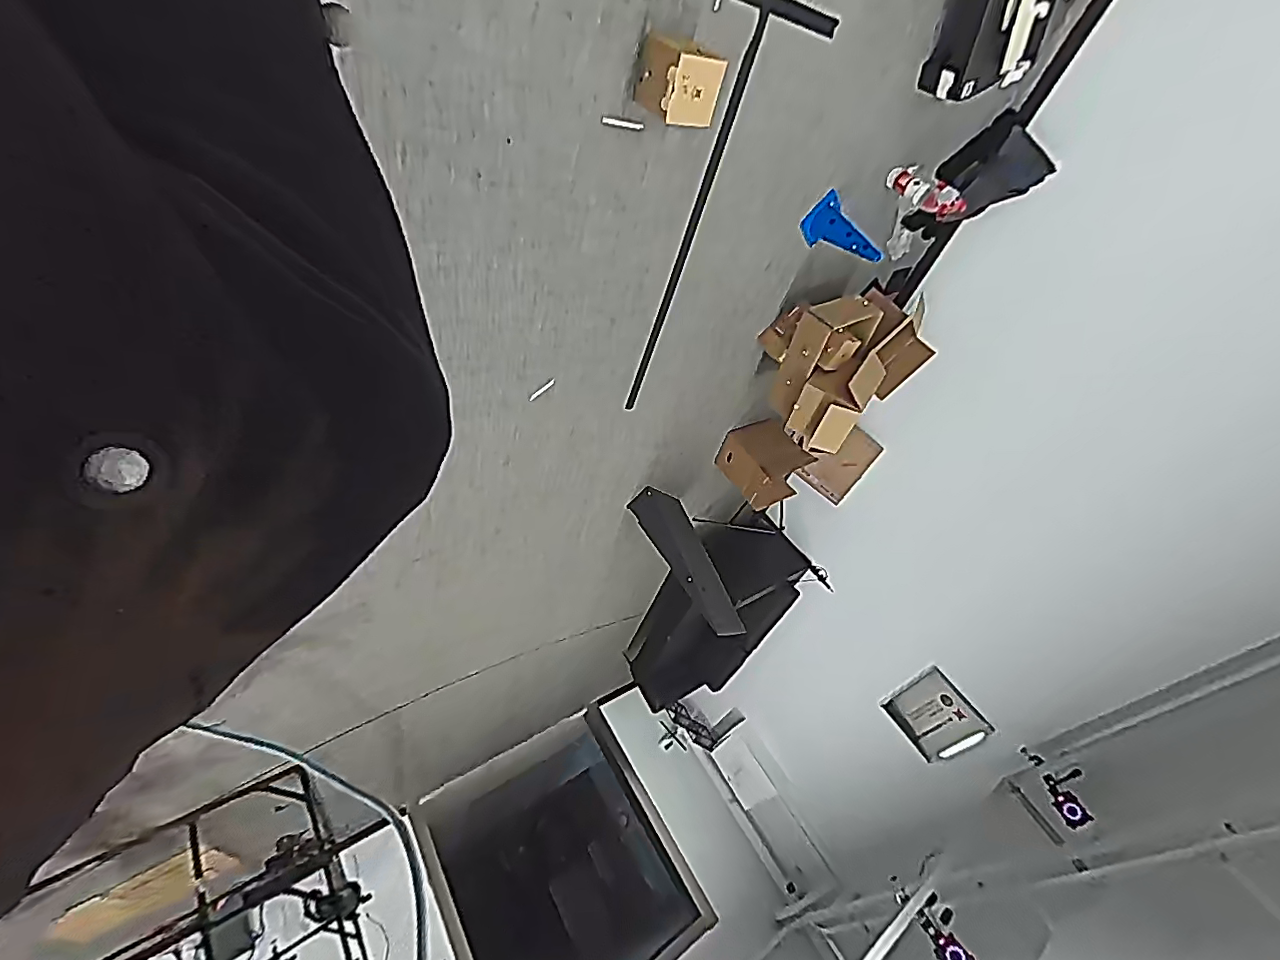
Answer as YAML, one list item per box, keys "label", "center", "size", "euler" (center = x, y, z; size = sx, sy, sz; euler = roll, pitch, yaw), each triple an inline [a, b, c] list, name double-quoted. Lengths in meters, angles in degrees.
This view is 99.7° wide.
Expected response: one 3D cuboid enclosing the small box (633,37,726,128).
- label: "small box"
  center: [0.109, -1.141, 1.554]
  size: [0.179, 0.176, 0.168]
  euler: [-18, 146, -31]
